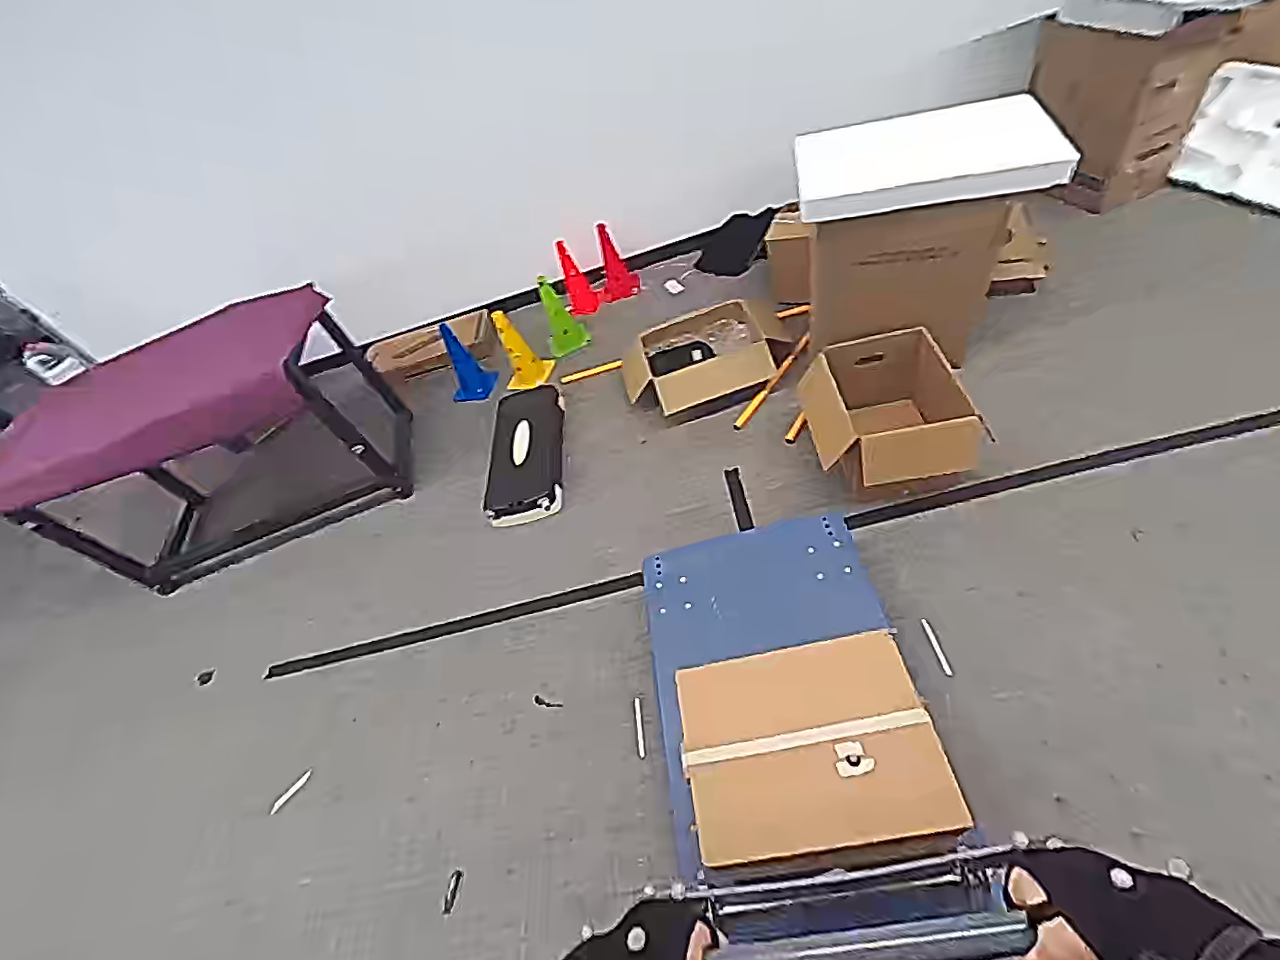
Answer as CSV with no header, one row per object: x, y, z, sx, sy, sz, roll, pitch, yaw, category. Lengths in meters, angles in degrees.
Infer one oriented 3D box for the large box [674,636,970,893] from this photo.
0.305,0.536,1.004,0.408,0.320,0.320,-14,49,7,large box
